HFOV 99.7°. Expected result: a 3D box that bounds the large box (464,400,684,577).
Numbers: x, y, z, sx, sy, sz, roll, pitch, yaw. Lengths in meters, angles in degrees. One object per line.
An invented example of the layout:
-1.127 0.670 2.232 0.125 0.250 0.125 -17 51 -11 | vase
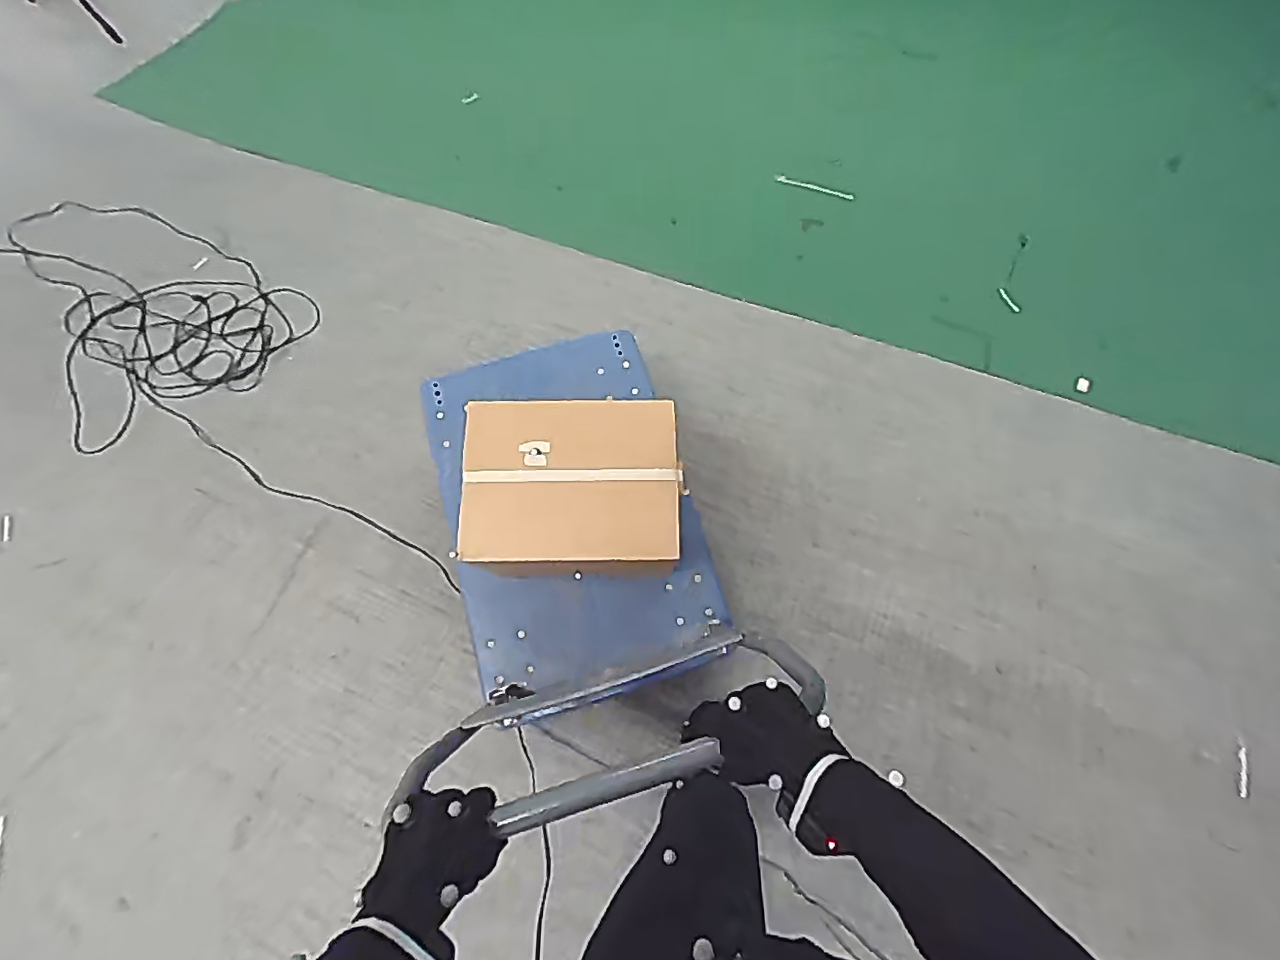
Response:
-0.121 0.037 1.156 0.408 0.320 0.320 -2 75 1 | large box
